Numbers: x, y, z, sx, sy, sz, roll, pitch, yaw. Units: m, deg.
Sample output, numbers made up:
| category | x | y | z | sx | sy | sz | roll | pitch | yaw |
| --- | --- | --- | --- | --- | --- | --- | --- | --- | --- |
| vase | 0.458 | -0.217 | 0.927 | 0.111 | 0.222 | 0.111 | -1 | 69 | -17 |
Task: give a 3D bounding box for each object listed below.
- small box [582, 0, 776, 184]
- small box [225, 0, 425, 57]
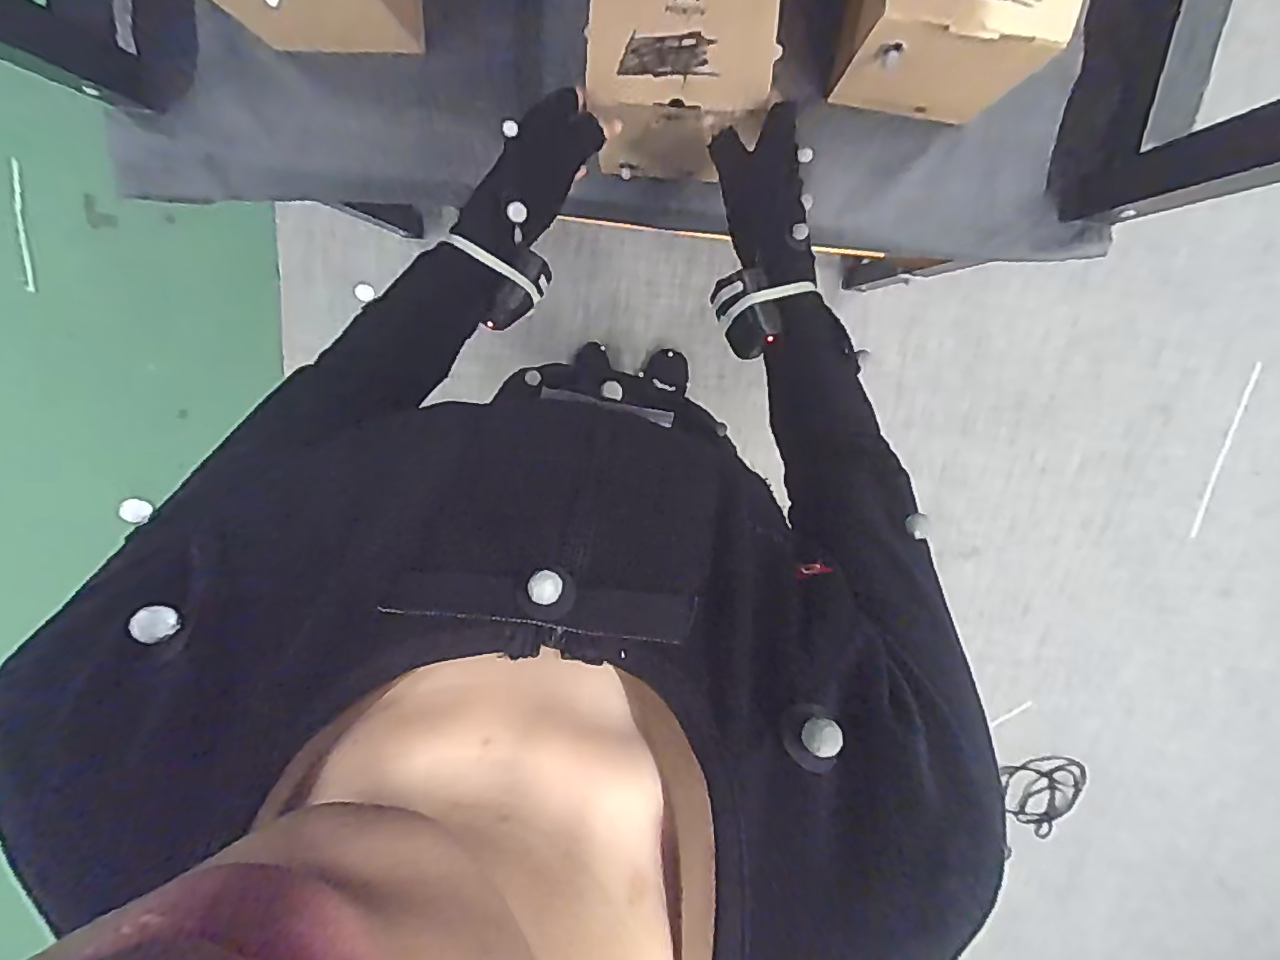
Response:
| category | x | y | z | sx | sy | sz | roll | pitch | yaw |
| --- | --- | --- | --- | --- | --- | --- | --- | --- | --- |
| small box | 0.039 | -0.425 | 0.550 | 0.168 | 0.176 | 0.179 | 5 | 99 | 0 |
| small box | -0.335 | -0.553 | 0.534 | 0.179 | 0.176 | 0.168 | 2 | 105 | 1 |
